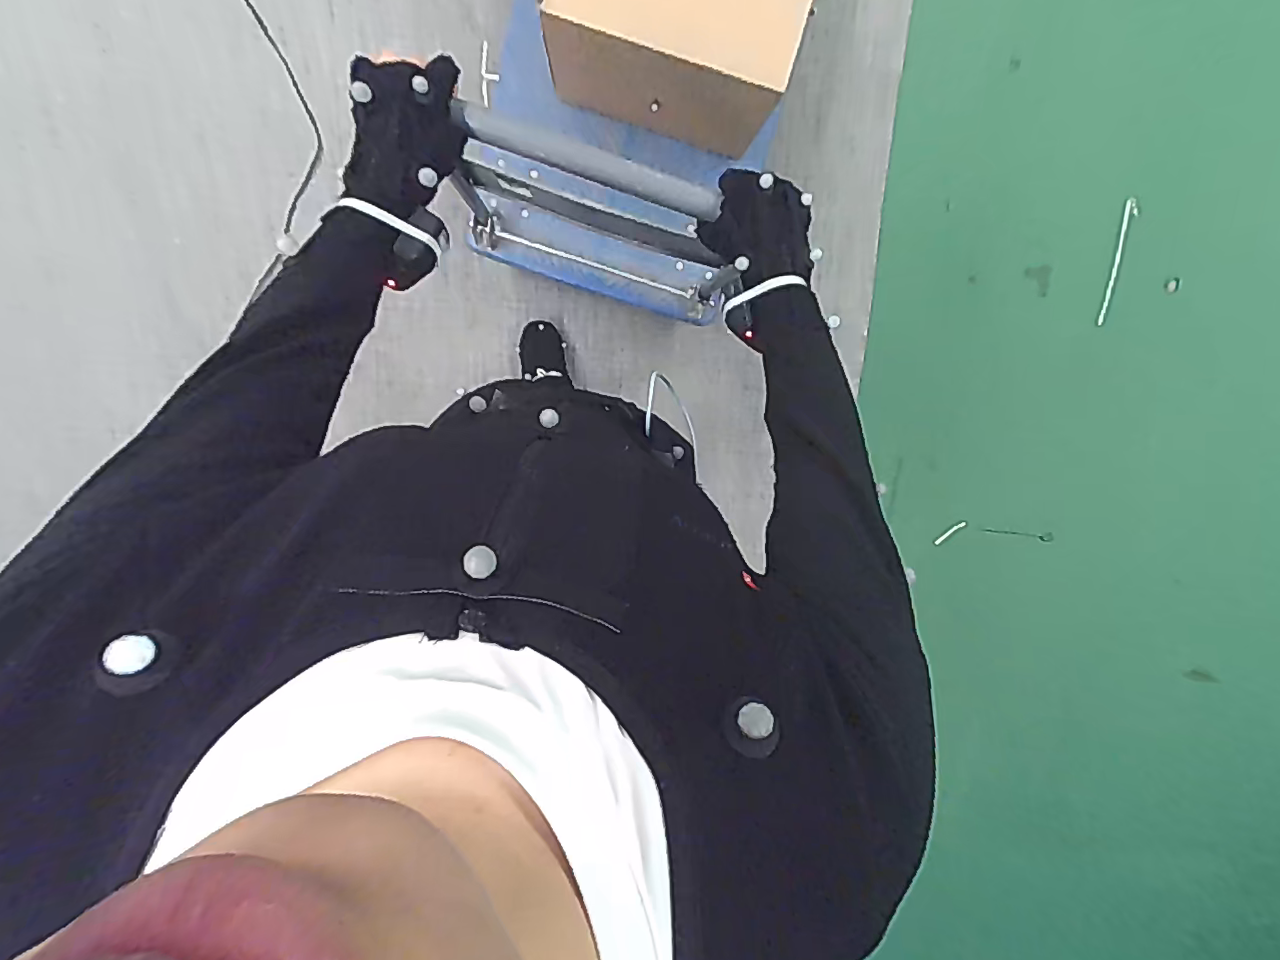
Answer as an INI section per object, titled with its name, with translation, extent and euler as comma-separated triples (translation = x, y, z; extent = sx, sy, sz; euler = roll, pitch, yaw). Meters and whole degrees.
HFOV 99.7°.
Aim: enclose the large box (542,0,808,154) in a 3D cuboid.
[large box]
translation = 0.071, -0.848, 0.966
extent = 0.408, 0.320, 0.320
euler = 14, 101, -6
